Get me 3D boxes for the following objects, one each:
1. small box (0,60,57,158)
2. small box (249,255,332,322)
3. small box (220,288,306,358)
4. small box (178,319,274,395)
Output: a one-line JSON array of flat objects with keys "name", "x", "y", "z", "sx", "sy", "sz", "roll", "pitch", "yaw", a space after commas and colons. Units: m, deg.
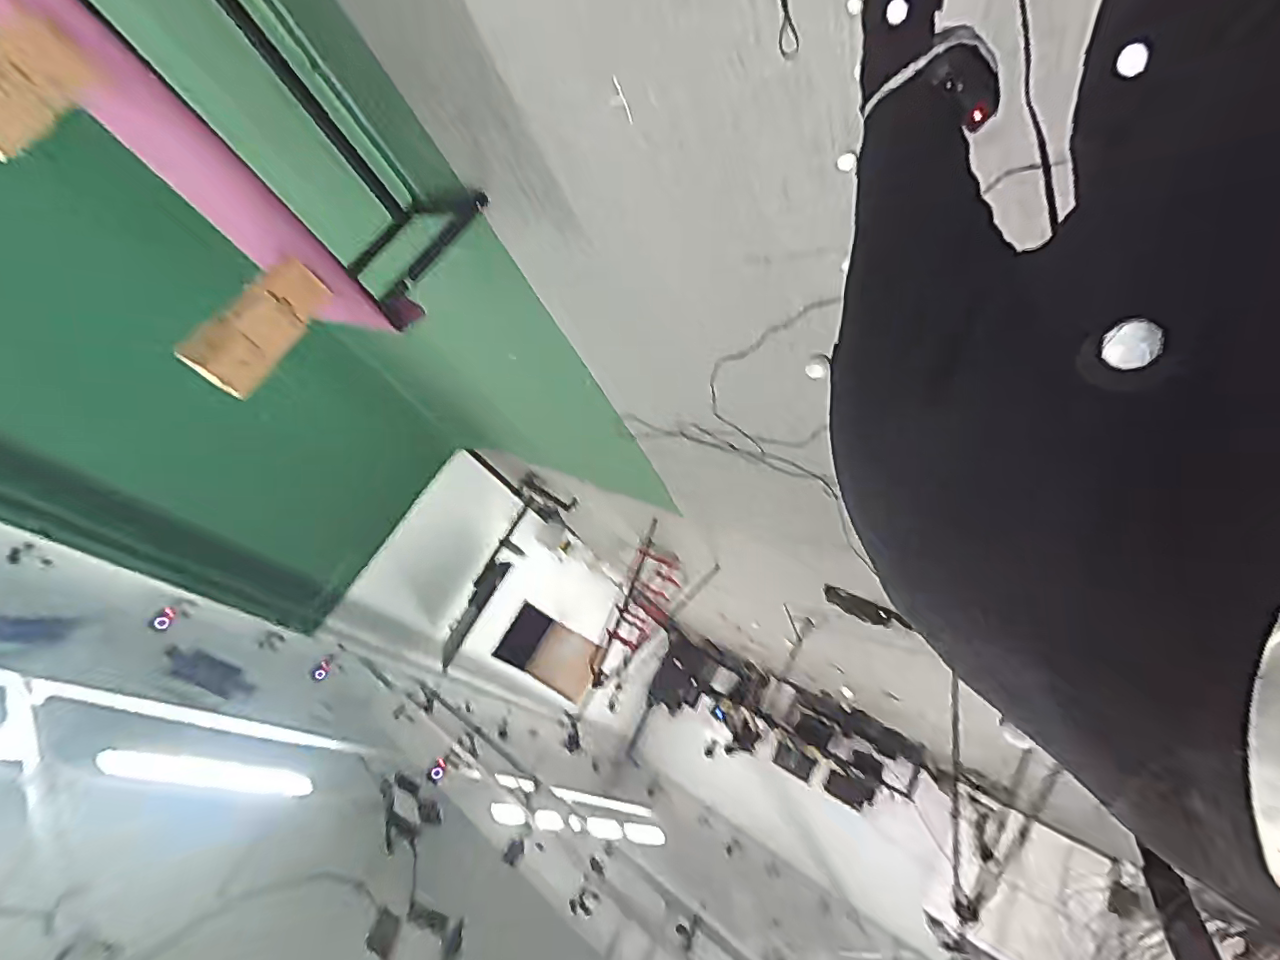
[{"name": "small box", "x": -1.658, "y": -0.963, "z": 1.382, "sx": 0.179, "sy": 0.176, "sz": 0.168, "roll": 17, "pitch": 157, "yaw": 39}, {"name": "small box", "x": -1.278, "y": -0.706, "z": 1.989, "sx": 0.179, "sy": 0.176, "sz": 0.168, "roll": 16, "pitch": 156, "yaw": 37}, {"name": "small box", "x": -1.343, "y": -0.564, "z": 1.934, "sx": 0.179, "sy": 0.176, "sz": 0.168, "roll": 19, "pitch": 157, "yaw": 33}, {"name": "small box", "x": -1.426, "y": -0.432, "z": 1.882, "sx": 0.179, "sy": 0.176, "sz": 0.168, "roll": 24, "pitch": 159, "yaw": 16}]
